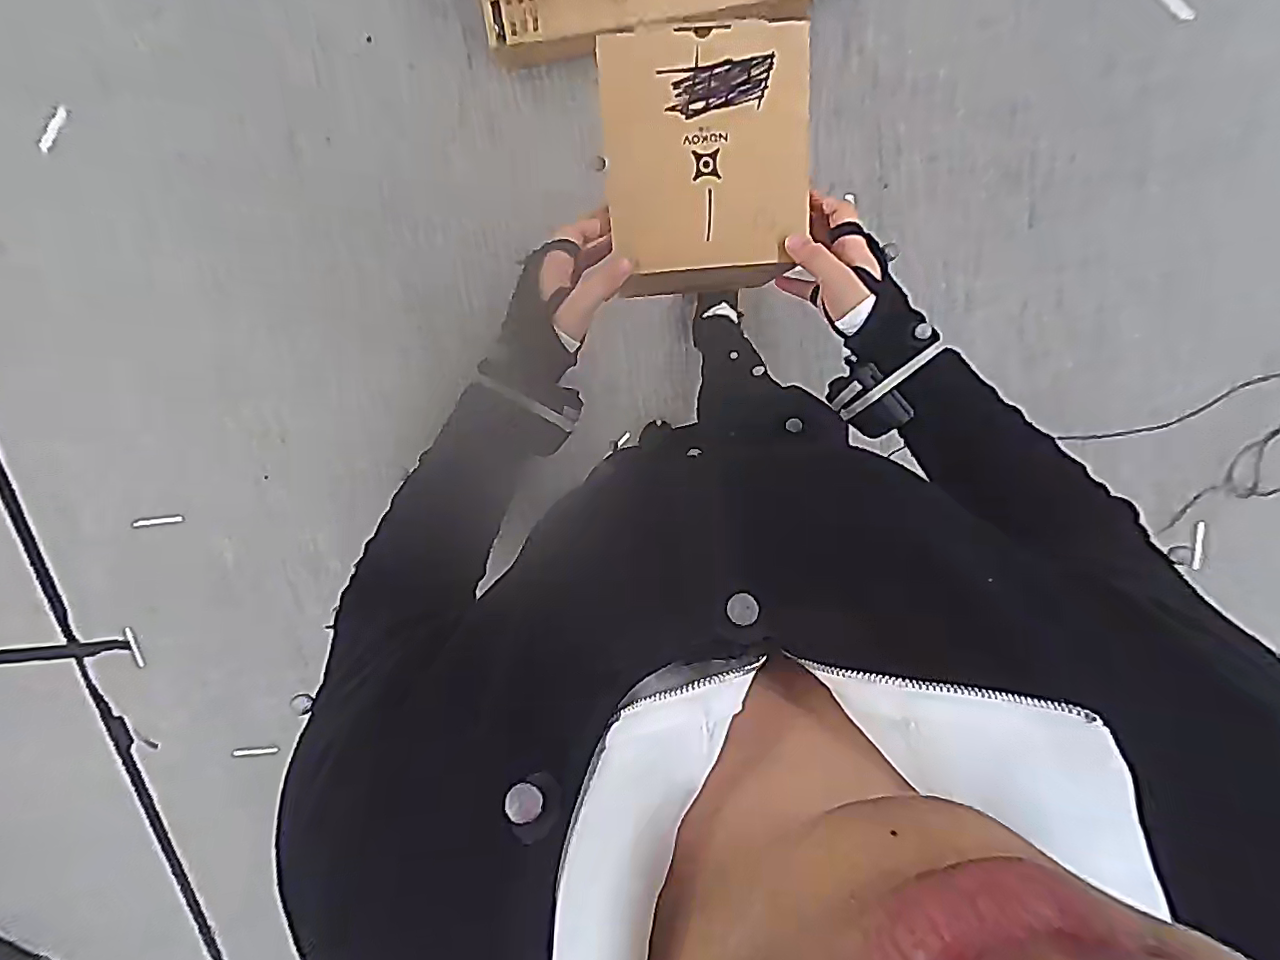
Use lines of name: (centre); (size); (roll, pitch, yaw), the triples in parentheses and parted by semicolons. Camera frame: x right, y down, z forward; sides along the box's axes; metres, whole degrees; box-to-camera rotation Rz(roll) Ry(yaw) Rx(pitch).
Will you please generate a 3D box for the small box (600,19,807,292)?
small box: (0.050, -0.285, 0.514); (0.168, 0.176, 0.179); (-5, 103, -1)
